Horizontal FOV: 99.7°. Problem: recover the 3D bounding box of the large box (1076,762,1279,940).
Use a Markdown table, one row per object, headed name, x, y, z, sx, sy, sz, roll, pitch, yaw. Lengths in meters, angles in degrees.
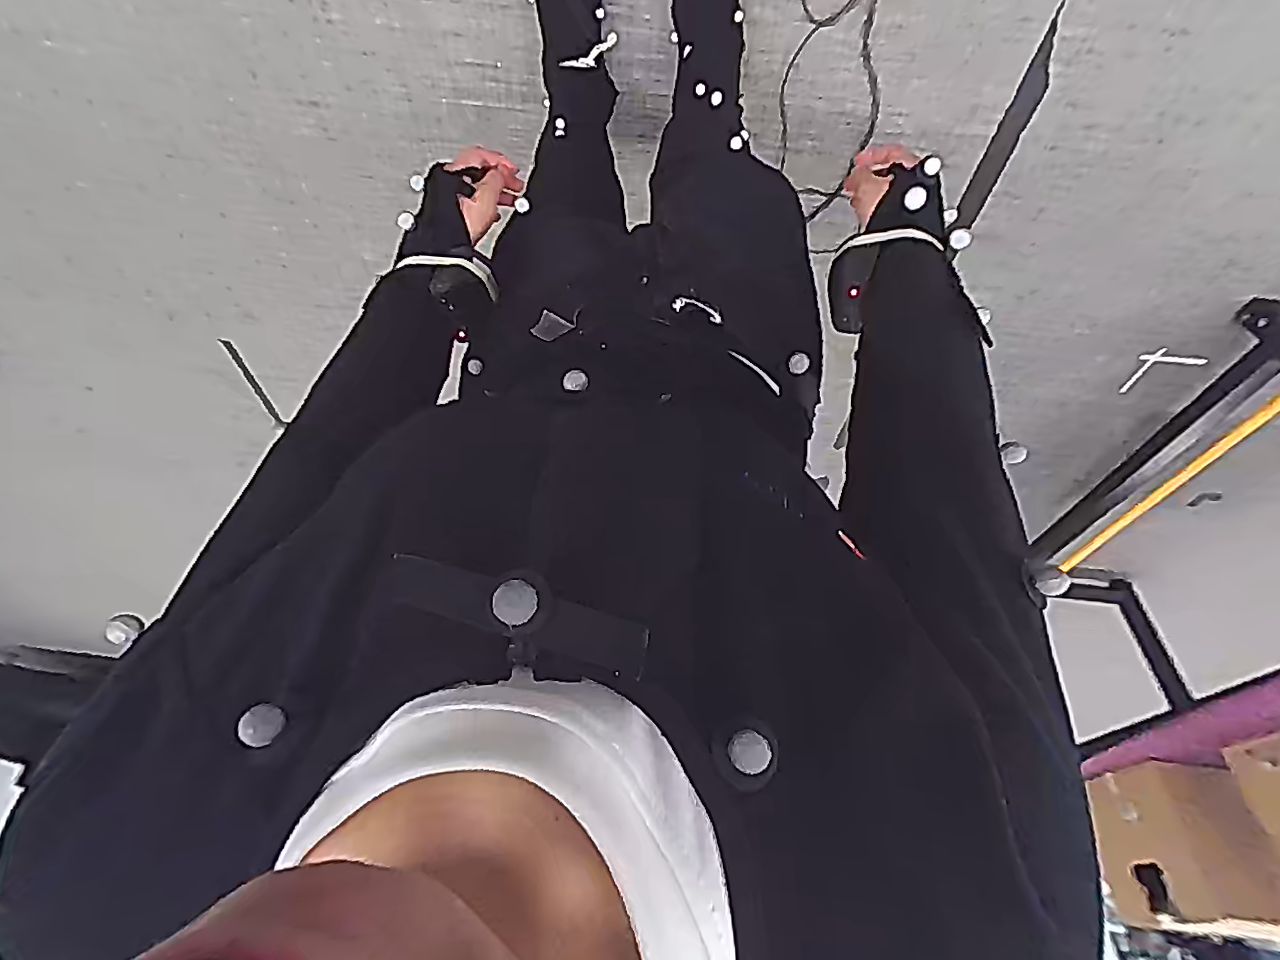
| name | x | y | z | sx | sy | sz | roll | pitch | yaw |
| --- | --- | --- | --- | --- | --- | --- | --- | --- | --- |
| large box | 1.419 | 0.906 | 1.321 | 0.408 | 0.320 | 0.320 | 5 | 141 | 1 |
